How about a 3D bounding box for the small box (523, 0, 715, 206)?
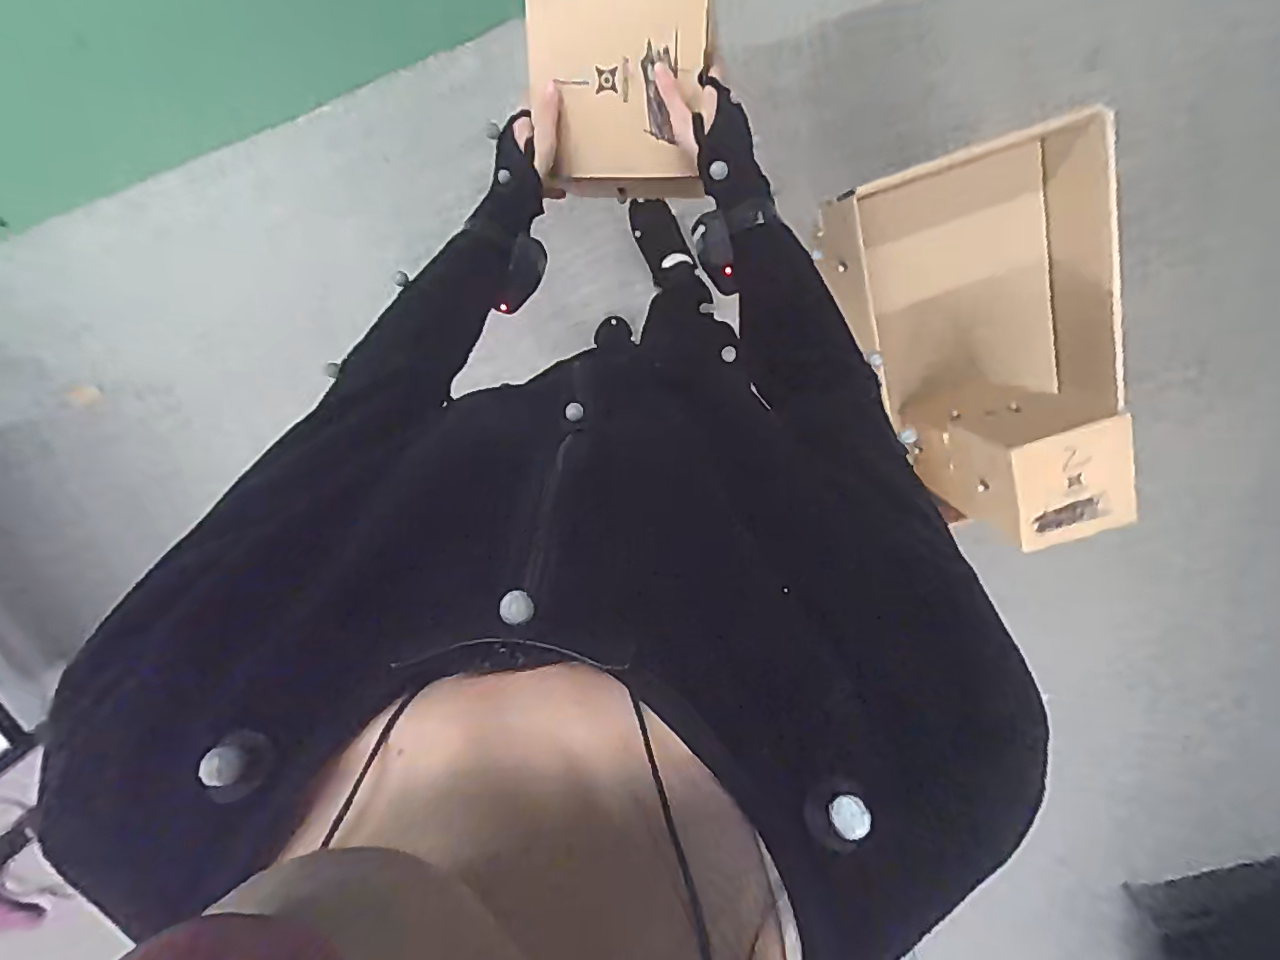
[{"bbox_3d":[-0.012,-0.403,0.593,0.179,0.176,0.168,4,111,10],"label":"small box"}]
